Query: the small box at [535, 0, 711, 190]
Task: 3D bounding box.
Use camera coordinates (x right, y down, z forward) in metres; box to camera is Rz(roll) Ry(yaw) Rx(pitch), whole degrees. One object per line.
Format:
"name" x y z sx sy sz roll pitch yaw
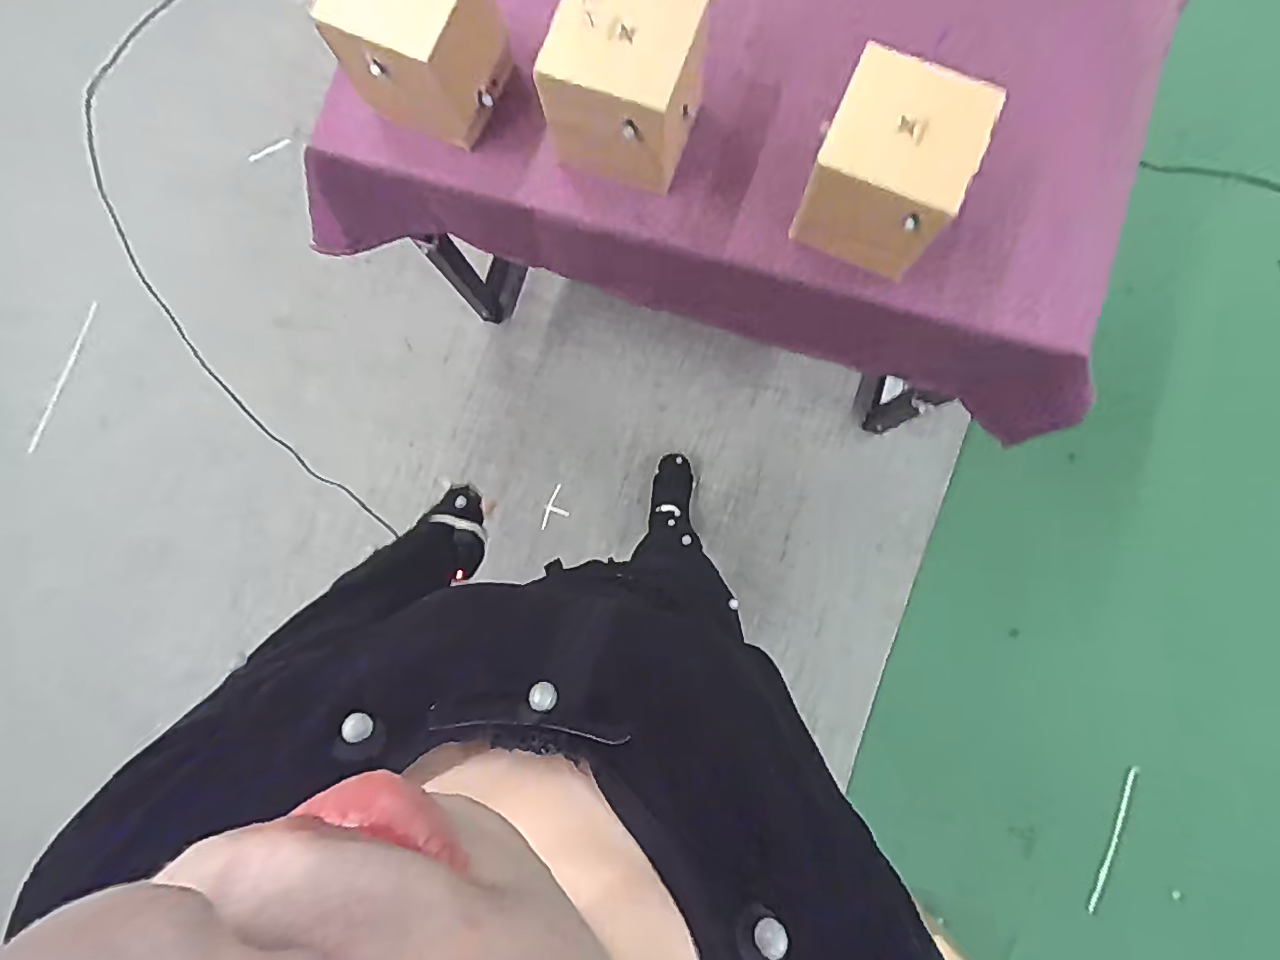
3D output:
"small box" -0.017 -0.536 0.742 0.179 0.176 0.168 21 85 5

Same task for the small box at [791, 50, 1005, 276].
"small box" 0.321 -0.401 0.715 0.179 0.176 0.168 24 86 4

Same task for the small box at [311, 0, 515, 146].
"small box" -0.305 -0.620 0.765 0.179 0.176 0.168 25 87 4
